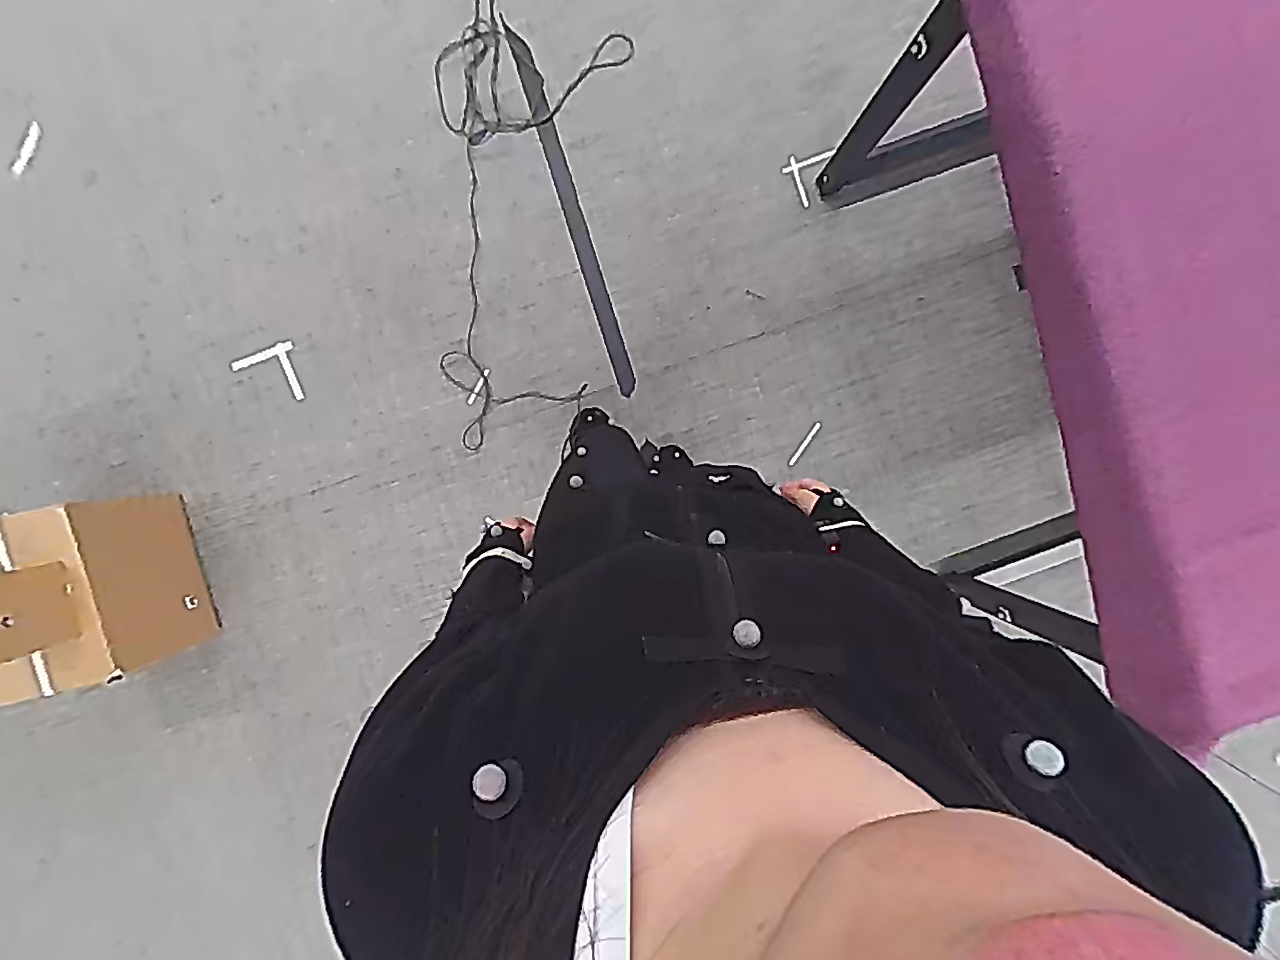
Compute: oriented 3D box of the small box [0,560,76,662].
[{"bbox_3d":[-1.315,0.275,1.096,0.168,0.176,0.179,-11,93,-1],"label":"small box"}]
